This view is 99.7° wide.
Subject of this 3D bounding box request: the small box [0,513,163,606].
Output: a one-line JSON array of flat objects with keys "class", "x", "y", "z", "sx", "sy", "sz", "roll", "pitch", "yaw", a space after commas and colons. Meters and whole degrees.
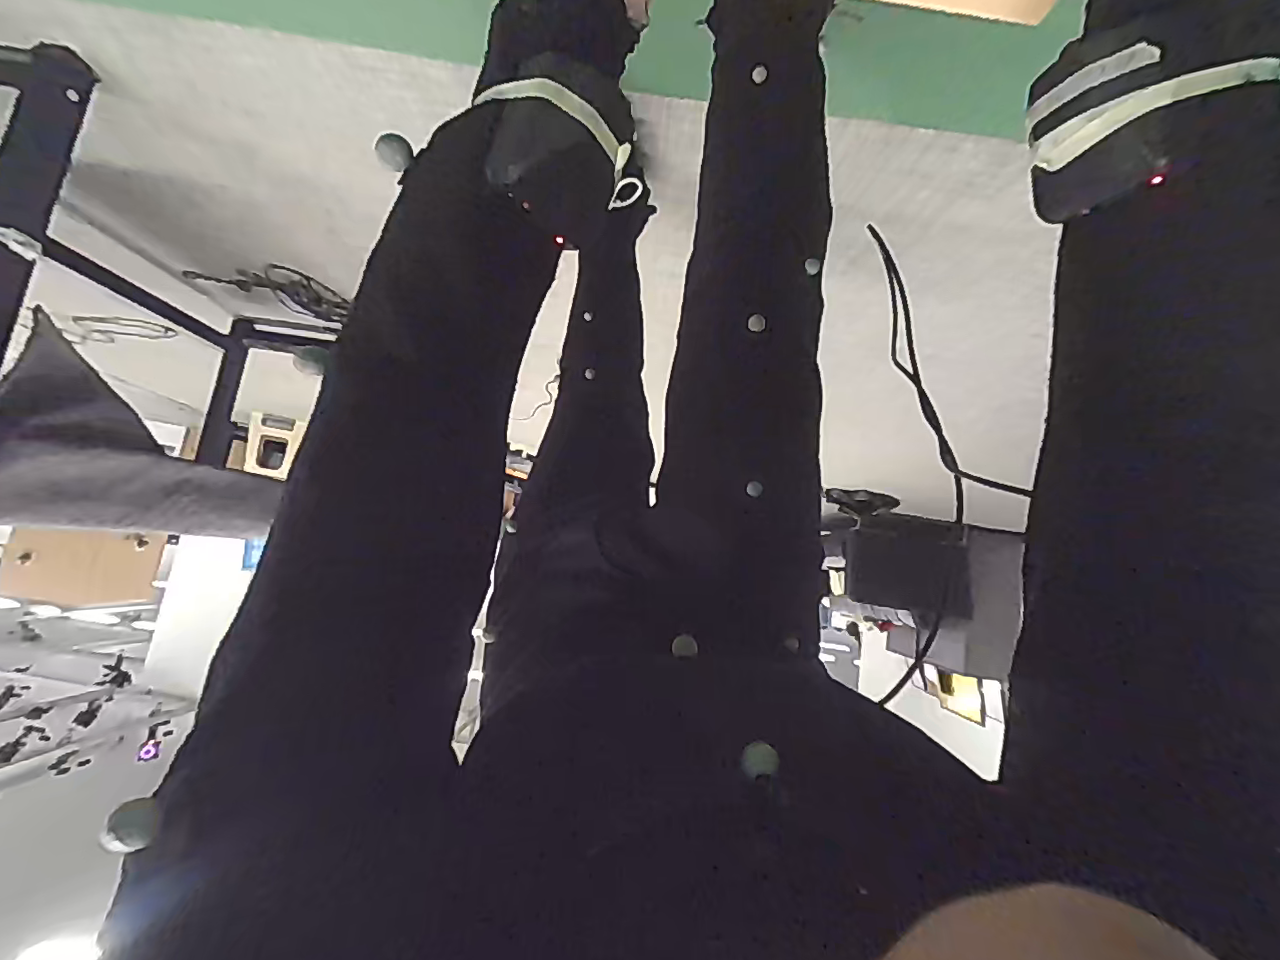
[{"class": "small box", "x": -1.167, "y": 0.162, "z": 1.138, "sx": 0.179, "sy": 0.176, "sz": 0.168, "roll": 8, "pitch": 173, "yaw": -1}]
